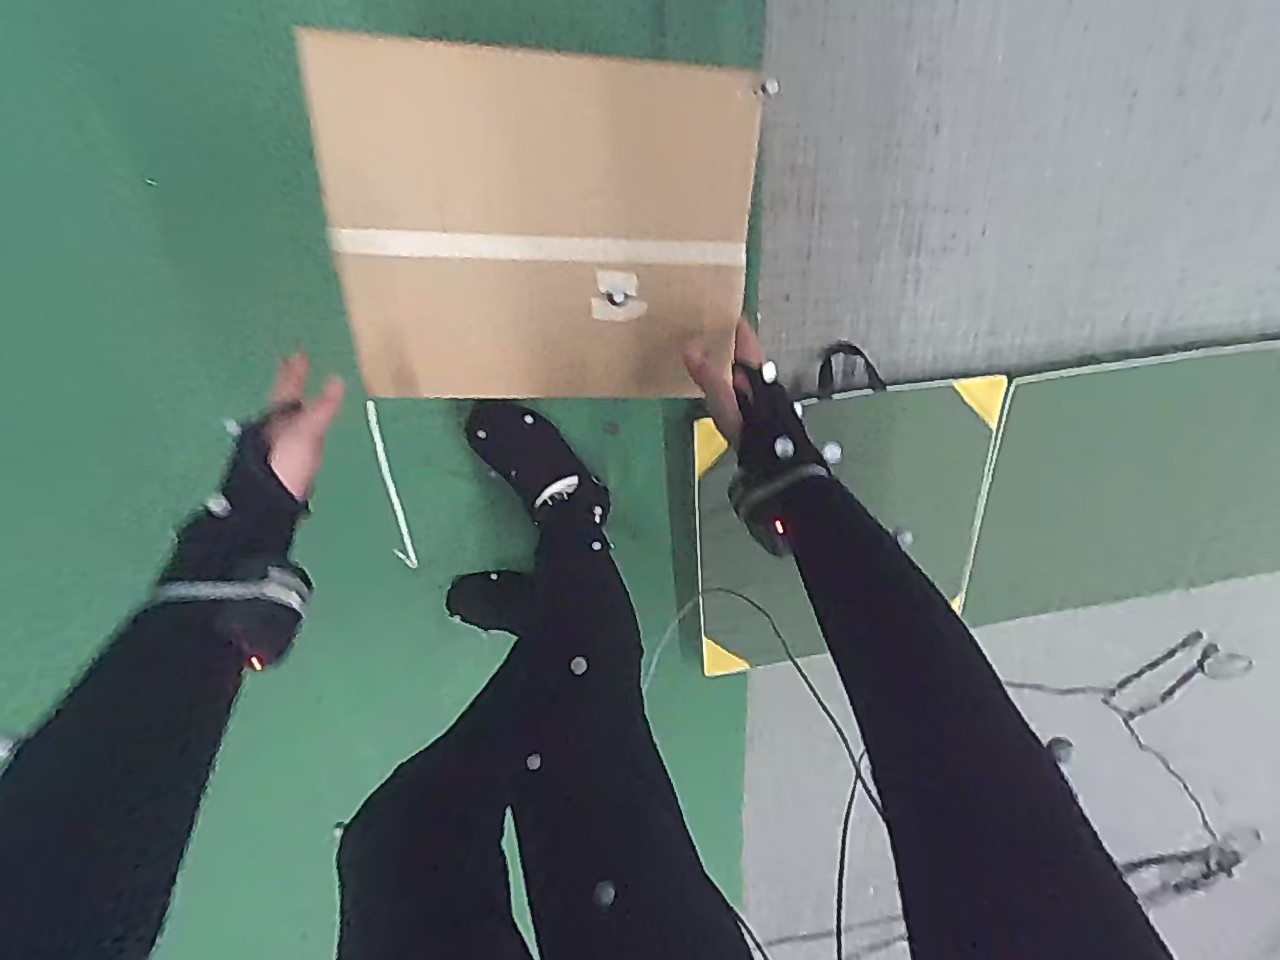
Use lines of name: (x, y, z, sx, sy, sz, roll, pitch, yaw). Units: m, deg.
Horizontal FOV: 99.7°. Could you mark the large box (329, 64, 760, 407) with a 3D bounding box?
large box: (-0.106, -0.289, 0.693, 0.408, 0.320, 0.320, -2, 115, -10)
